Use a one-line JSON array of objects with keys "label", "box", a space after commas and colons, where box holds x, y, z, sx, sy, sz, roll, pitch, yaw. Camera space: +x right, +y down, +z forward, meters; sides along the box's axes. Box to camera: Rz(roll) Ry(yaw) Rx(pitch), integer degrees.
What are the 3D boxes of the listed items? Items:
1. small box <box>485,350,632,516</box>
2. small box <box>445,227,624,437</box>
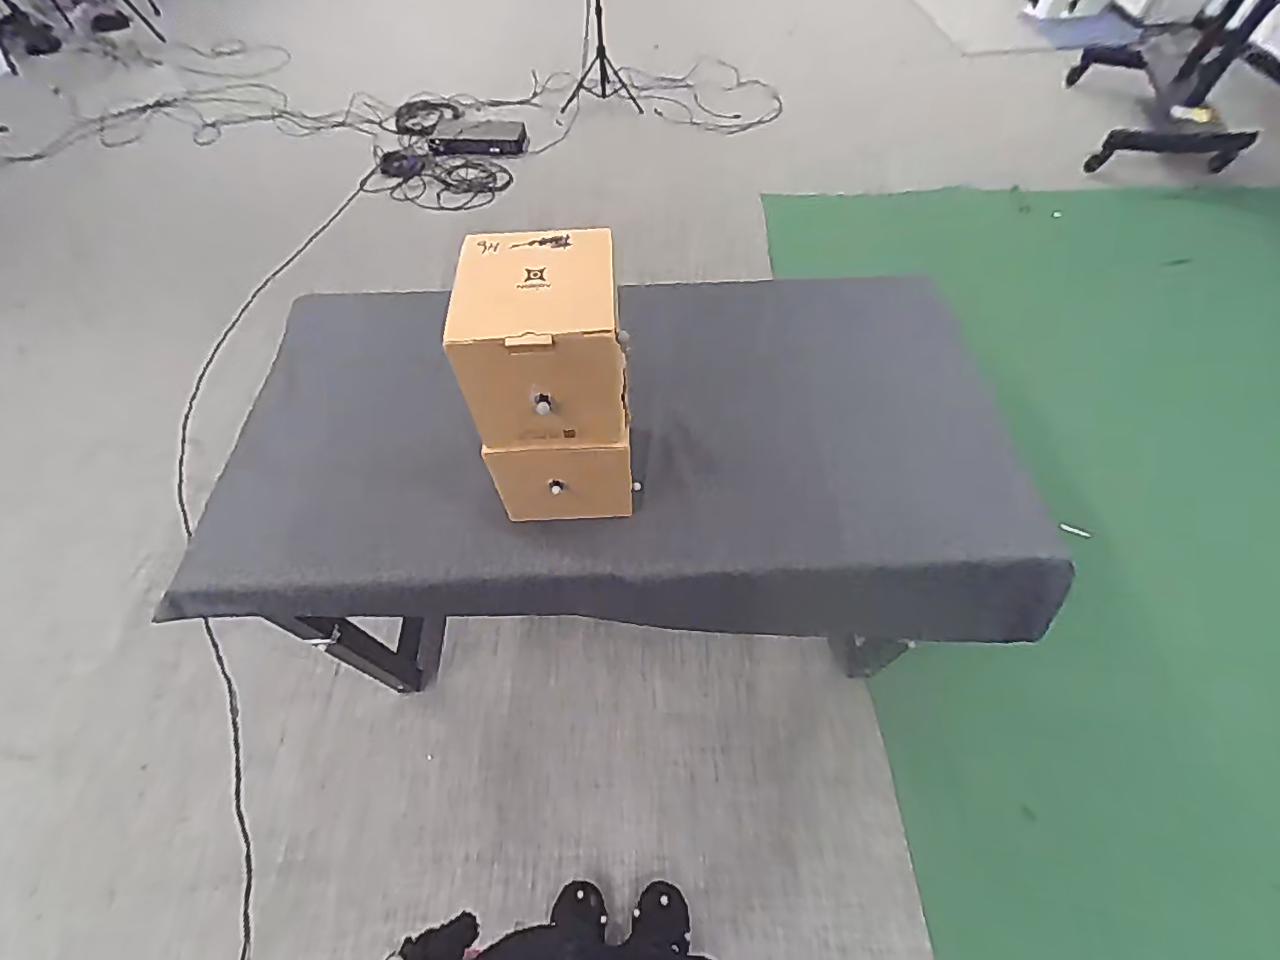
[{"label": "small box", "box": [-0.100, -0.061, 0.752, 0.179, 0.176, 0.168, -3, 57, 0]}, {"label": "small box", "box": [-0.106, -0.161, 0.623, 0.168, 0.176, 0.179, -3, 57, -1]}]
